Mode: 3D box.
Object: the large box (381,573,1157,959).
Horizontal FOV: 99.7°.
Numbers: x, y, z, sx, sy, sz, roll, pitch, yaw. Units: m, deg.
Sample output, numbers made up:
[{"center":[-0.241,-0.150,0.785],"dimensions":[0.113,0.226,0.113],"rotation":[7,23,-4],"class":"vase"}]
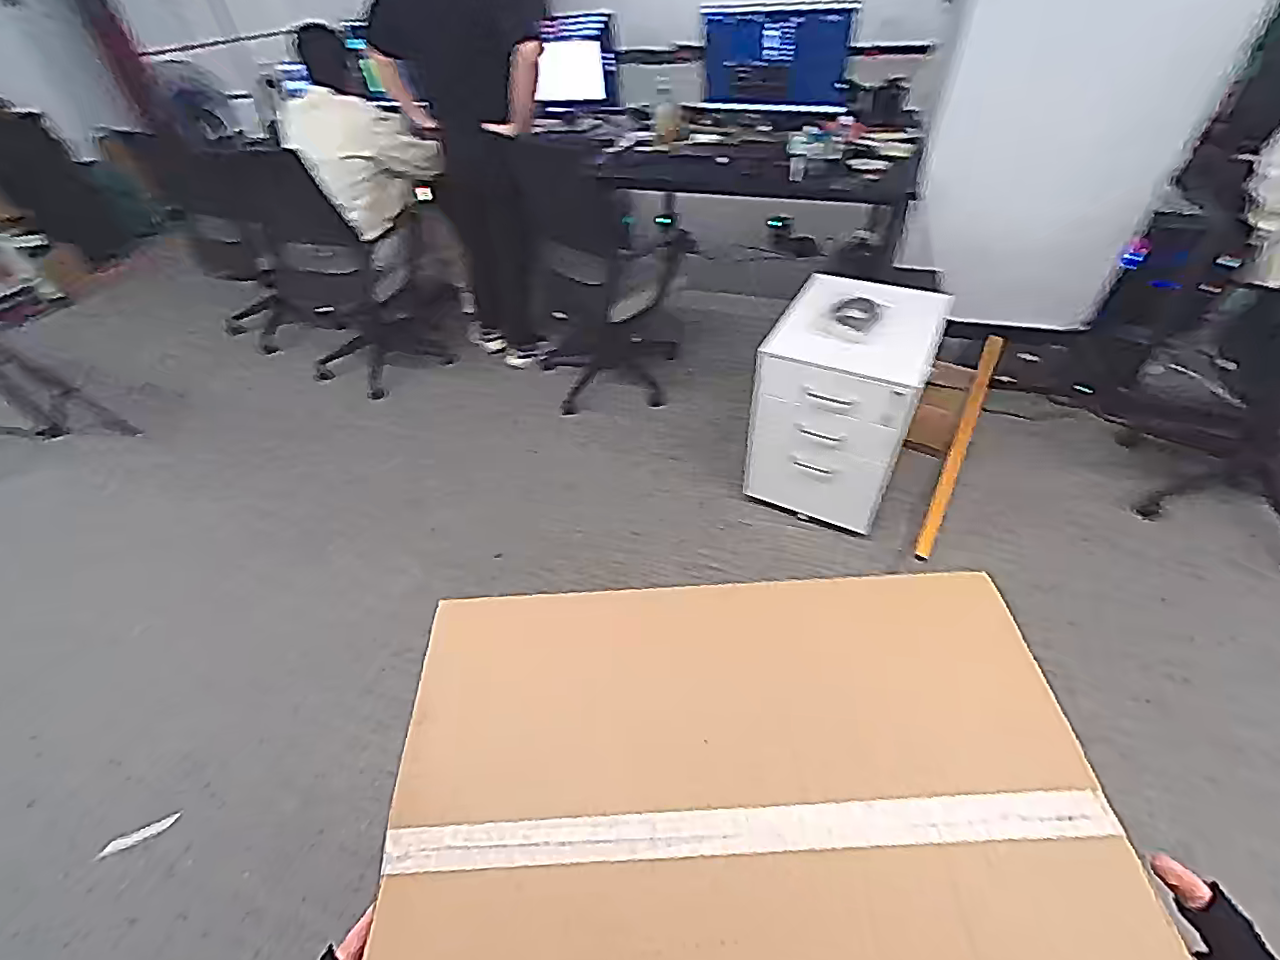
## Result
[{"center":[0.063,0.299,0.429],"dimensions":[0.408,0.320,0.320],"rotation":[-4,51,0],"class":"large box"}]
